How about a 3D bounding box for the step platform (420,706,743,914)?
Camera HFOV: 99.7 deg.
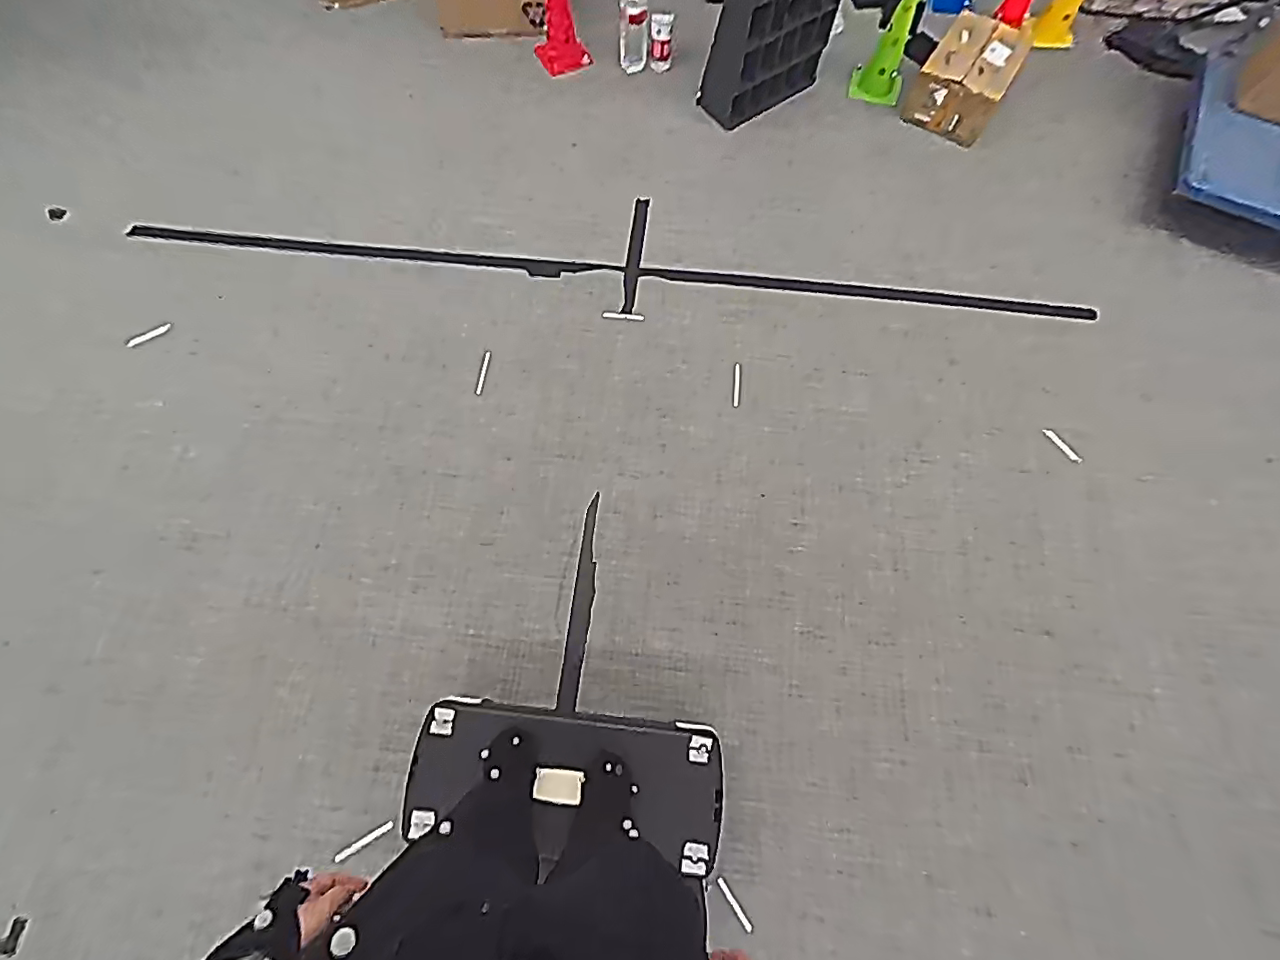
[{"bbox_3d":[-0.118,0.712,1.202,0.684,0.204,0.286,10,67,2],"label":"step platform"}]
